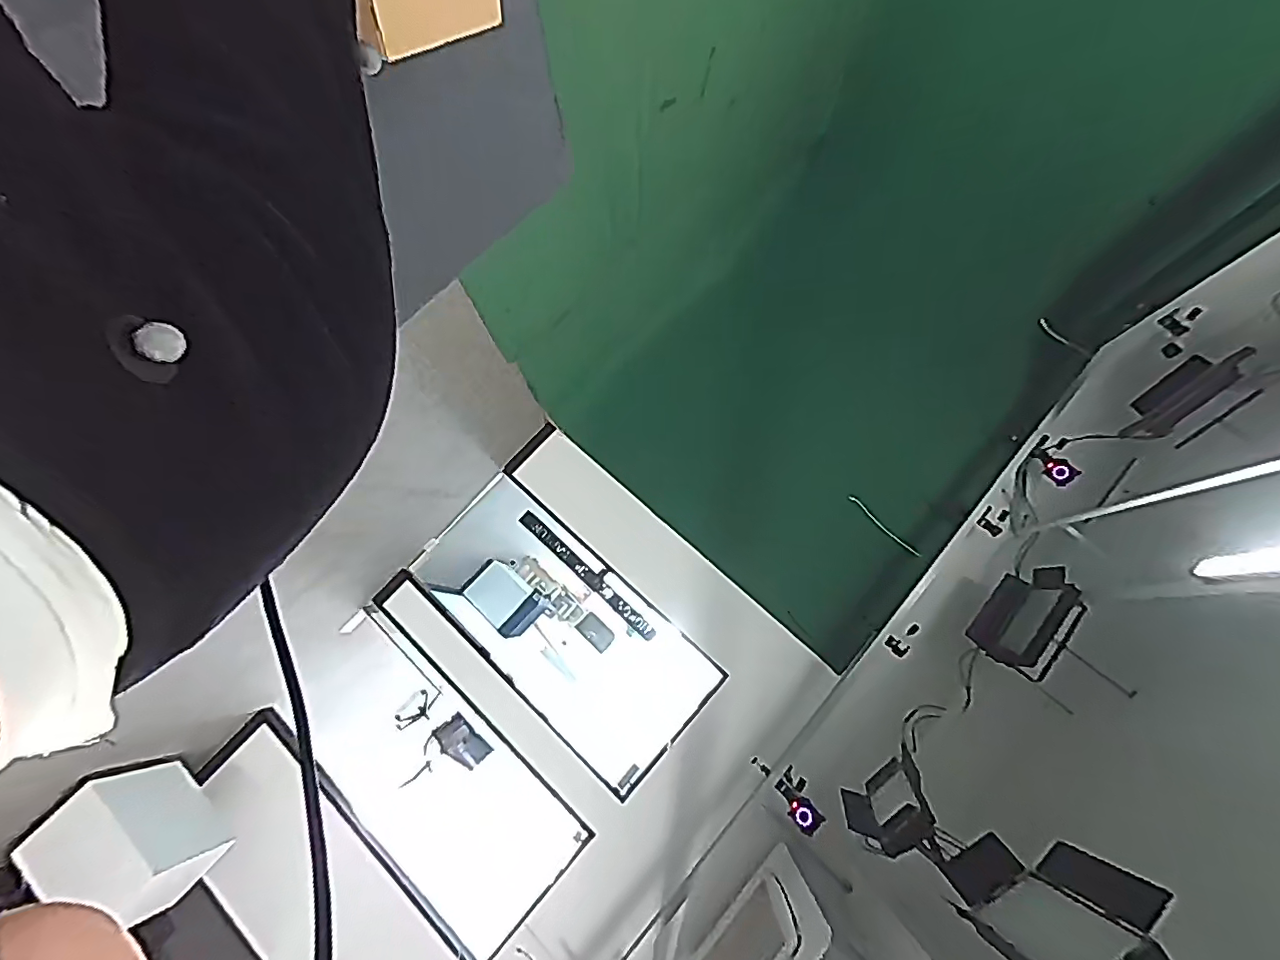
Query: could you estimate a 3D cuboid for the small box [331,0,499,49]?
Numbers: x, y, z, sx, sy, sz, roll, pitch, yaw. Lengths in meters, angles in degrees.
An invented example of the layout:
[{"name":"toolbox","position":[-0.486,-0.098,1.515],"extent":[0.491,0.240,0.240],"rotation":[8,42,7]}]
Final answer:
[{"name":"small box","position":[-0.284,-0.633,0.600],"extent":[0.179,0.176,0.168],"rotation":[-43,169,-25]}]
